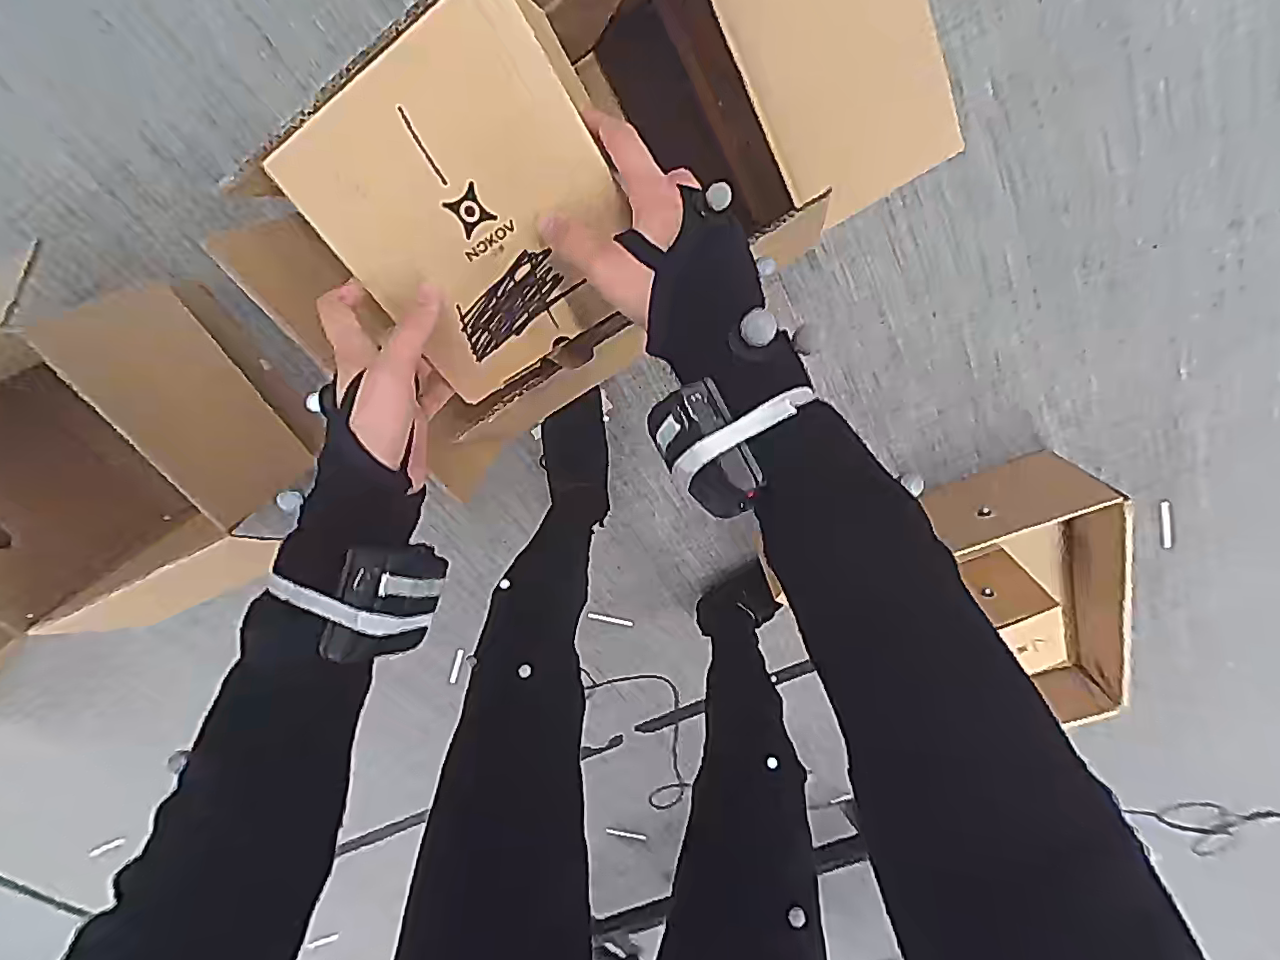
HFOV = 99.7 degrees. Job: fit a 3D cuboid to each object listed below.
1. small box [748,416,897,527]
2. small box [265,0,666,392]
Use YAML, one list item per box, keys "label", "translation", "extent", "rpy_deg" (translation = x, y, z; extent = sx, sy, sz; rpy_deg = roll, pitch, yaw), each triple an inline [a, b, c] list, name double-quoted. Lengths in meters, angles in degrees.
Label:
- label: "small box"
  translation: [0.313, 0.017, 0.976]
  extent: [0.168, 0.176, 0.179]
  rpy_deg: [32, 113, -18]
- label: "small box"
  translation: [-0.093, -0.199, 0.380]
  extent: [0.168, 0.176, 0.179]
  rpy_deg: [-27, 118, 16]
